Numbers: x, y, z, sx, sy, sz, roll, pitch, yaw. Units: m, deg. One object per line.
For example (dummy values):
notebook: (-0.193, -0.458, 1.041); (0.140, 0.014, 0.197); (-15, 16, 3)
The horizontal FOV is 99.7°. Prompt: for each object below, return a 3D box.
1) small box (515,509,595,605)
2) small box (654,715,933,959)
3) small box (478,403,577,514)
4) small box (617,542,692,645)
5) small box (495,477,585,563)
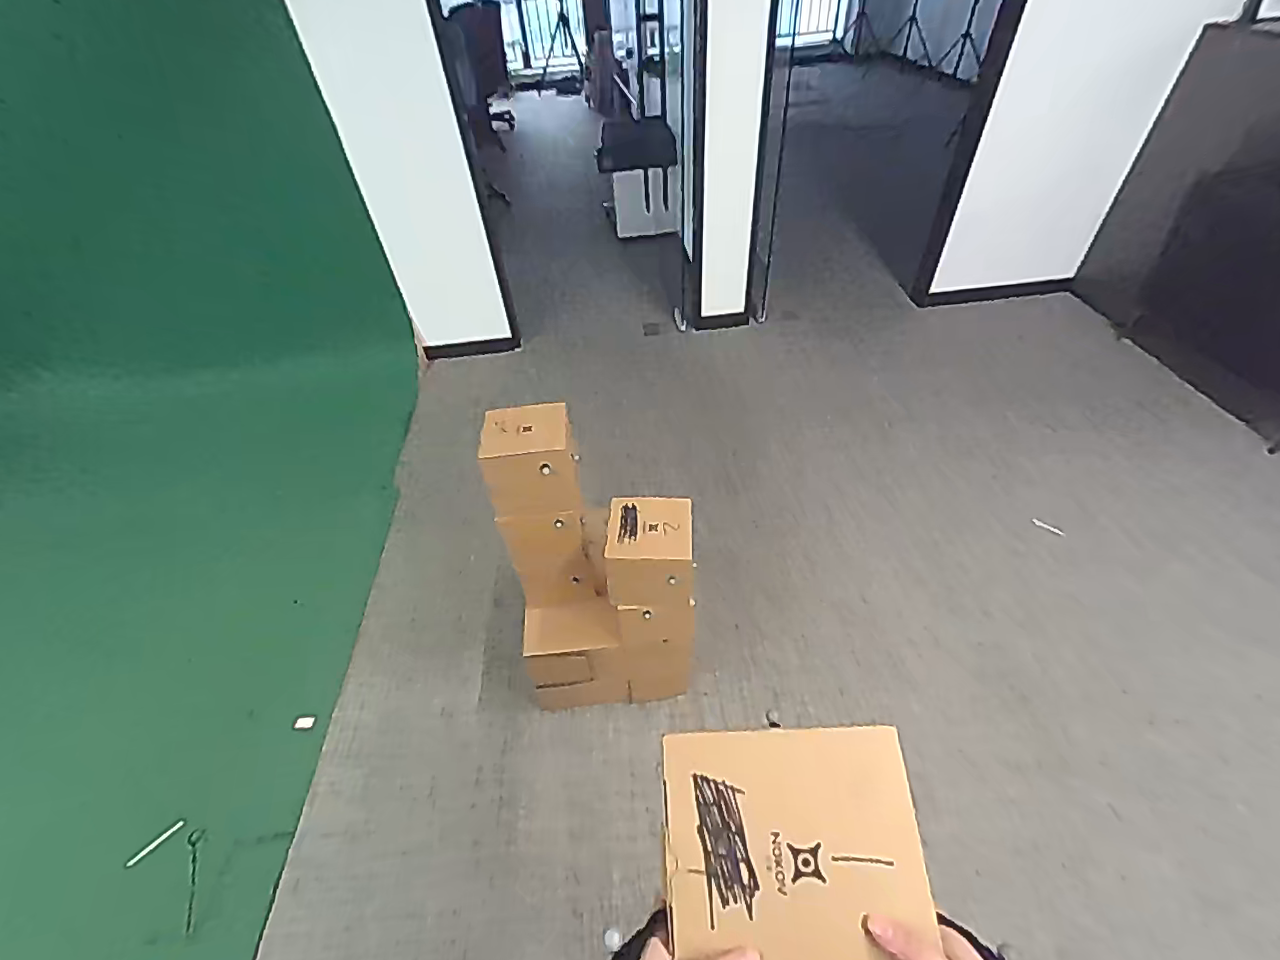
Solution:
small box: (-0.212, 0.199, 1.384); (0.179, 0.176, 0.168); (-8, 43, -2)
small box: (0.107, 0.288, 0.448); (0.179, 0.176, 0.168); (-4, 65, 4)
small box: (-0.232, -0.044, 1.165); (0.179, 0.176, 0.168); (-6, 42, -1)
small box: (0.033, 0.270, 1.284); (0.168, 0.176, 0.179); (-3, 44, 1)
small box: (-0.230, 0.080, 1.274); (0.179, 0.176, 0.168); (-6, 42, -3)
